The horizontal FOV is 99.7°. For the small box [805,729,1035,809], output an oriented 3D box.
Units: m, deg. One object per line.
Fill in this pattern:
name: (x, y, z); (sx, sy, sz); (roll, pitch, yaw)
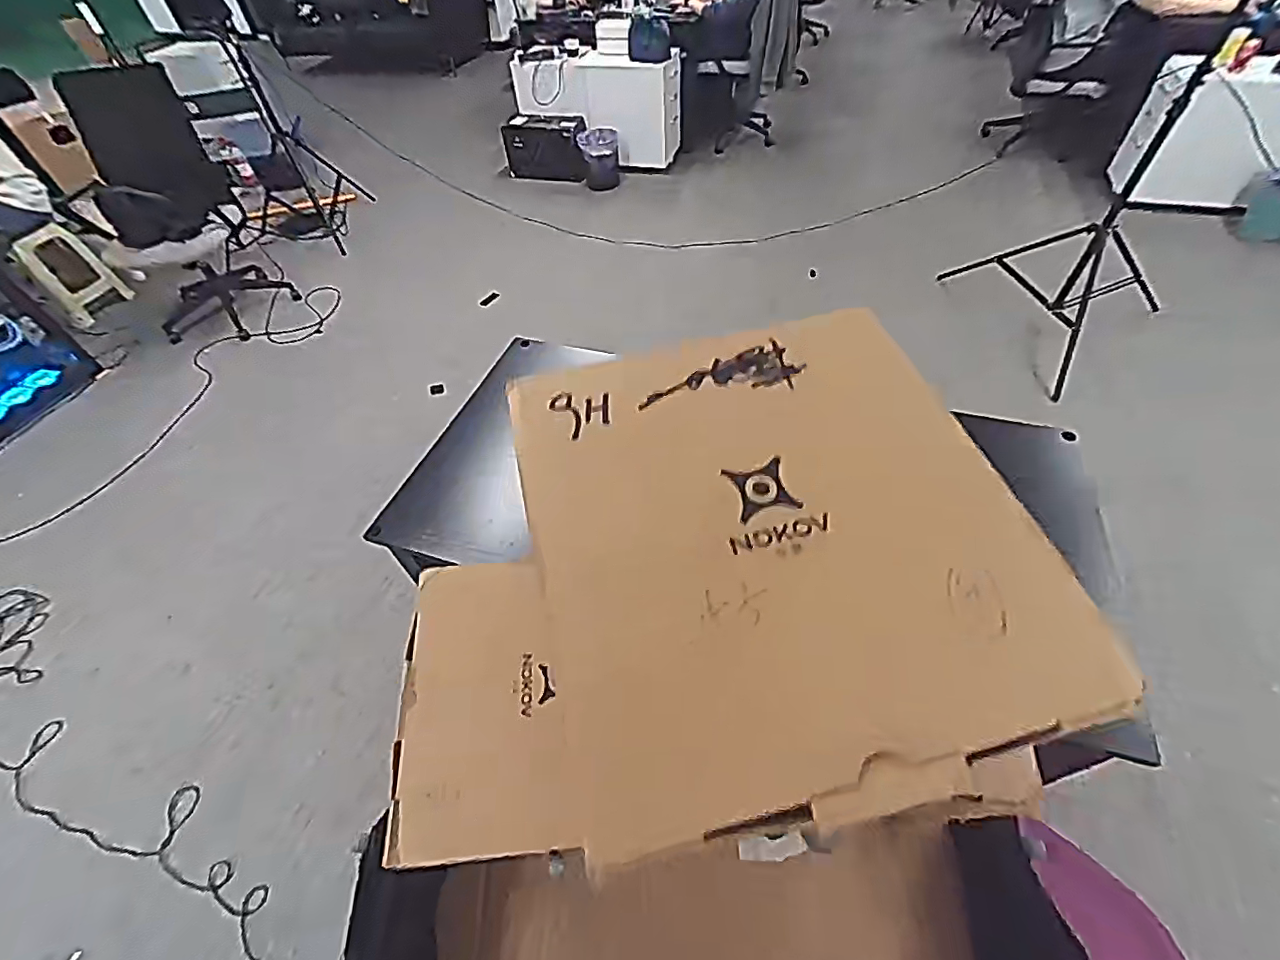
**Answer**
small box: (0.141, 0.128, 0.399); (0.168, 0.176, 0.179); (6, 56, 7)

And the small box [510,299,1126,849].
small box: (0.046, 0.049, 0.259); (0.168, 0.176, 0.179); (-13, 58, -7)
